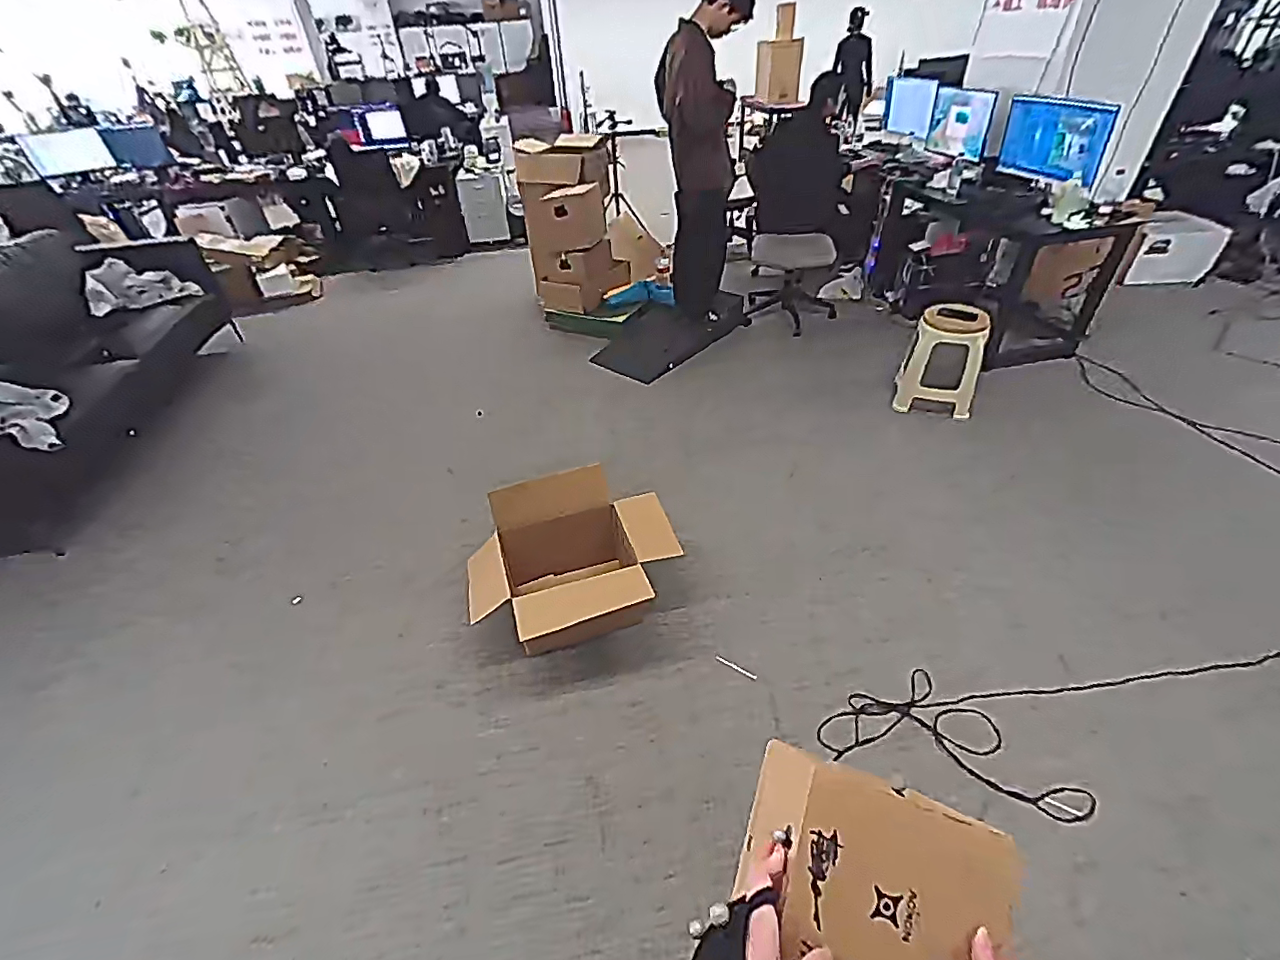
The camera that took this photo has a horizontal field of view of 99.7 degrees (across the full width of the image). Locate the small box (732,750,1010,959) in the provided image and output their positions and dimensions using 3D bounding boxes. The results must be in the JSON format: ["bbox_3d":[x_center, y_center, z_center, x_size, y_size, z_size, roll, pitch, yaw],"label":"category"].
[{"bbox_3d":[0.202,0.374,0.510,0.179,0.176,0.168,18,71,5],"label":"small box"}]
